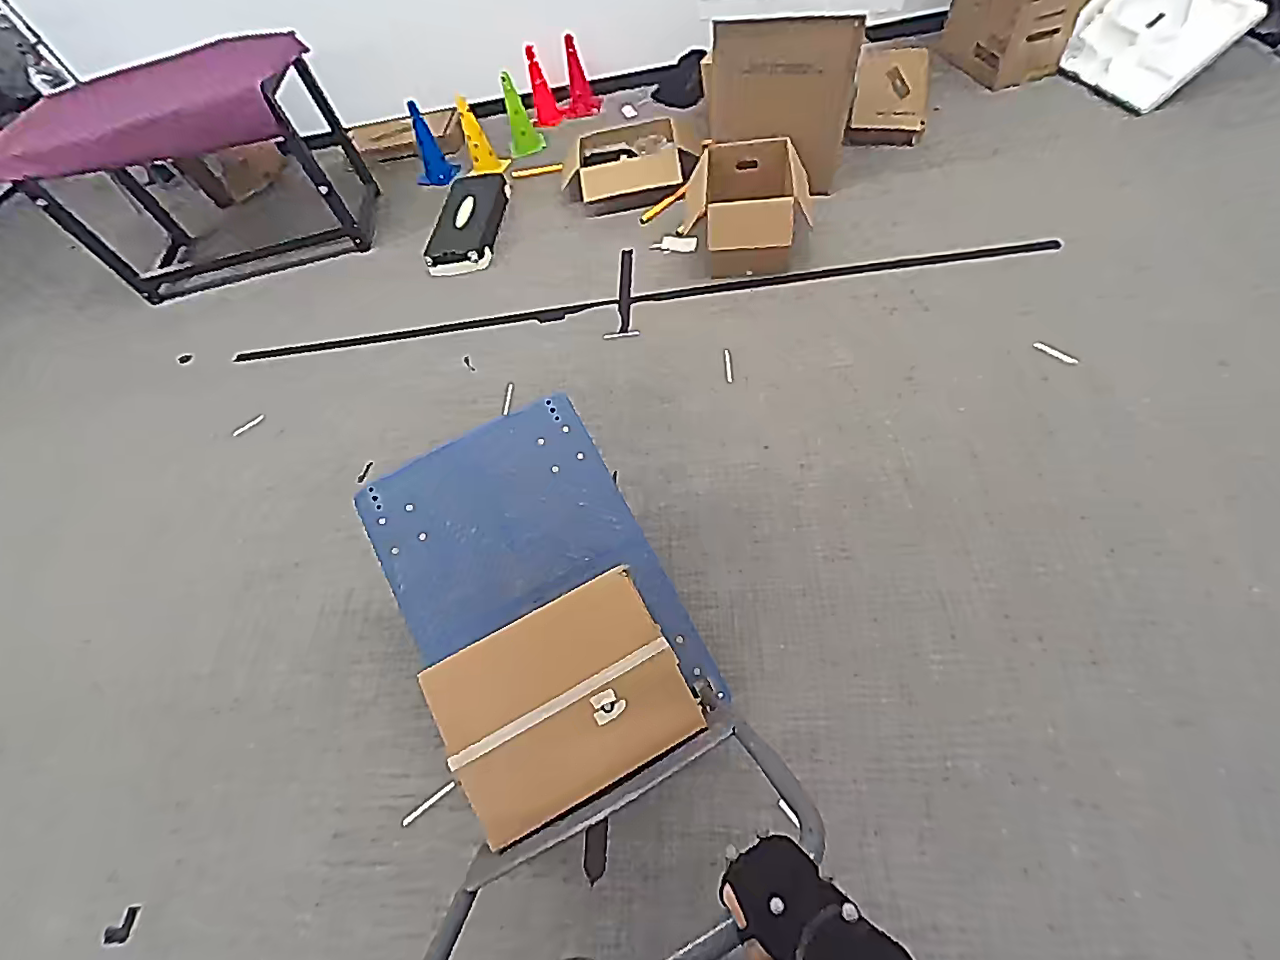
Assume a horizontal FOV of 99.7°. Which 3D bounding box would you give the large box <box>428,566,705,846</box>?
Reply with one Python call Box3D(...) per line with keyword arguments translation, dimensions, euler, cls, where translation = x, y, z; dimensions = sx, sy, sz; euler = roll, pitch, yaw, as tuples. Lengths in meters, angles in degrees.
Box3D(translation=(-0.135, 0.421, 1.088), dimensions=(0.408, 0.320, 0.320), euler=(-28, 78, -9), cls="large box")
